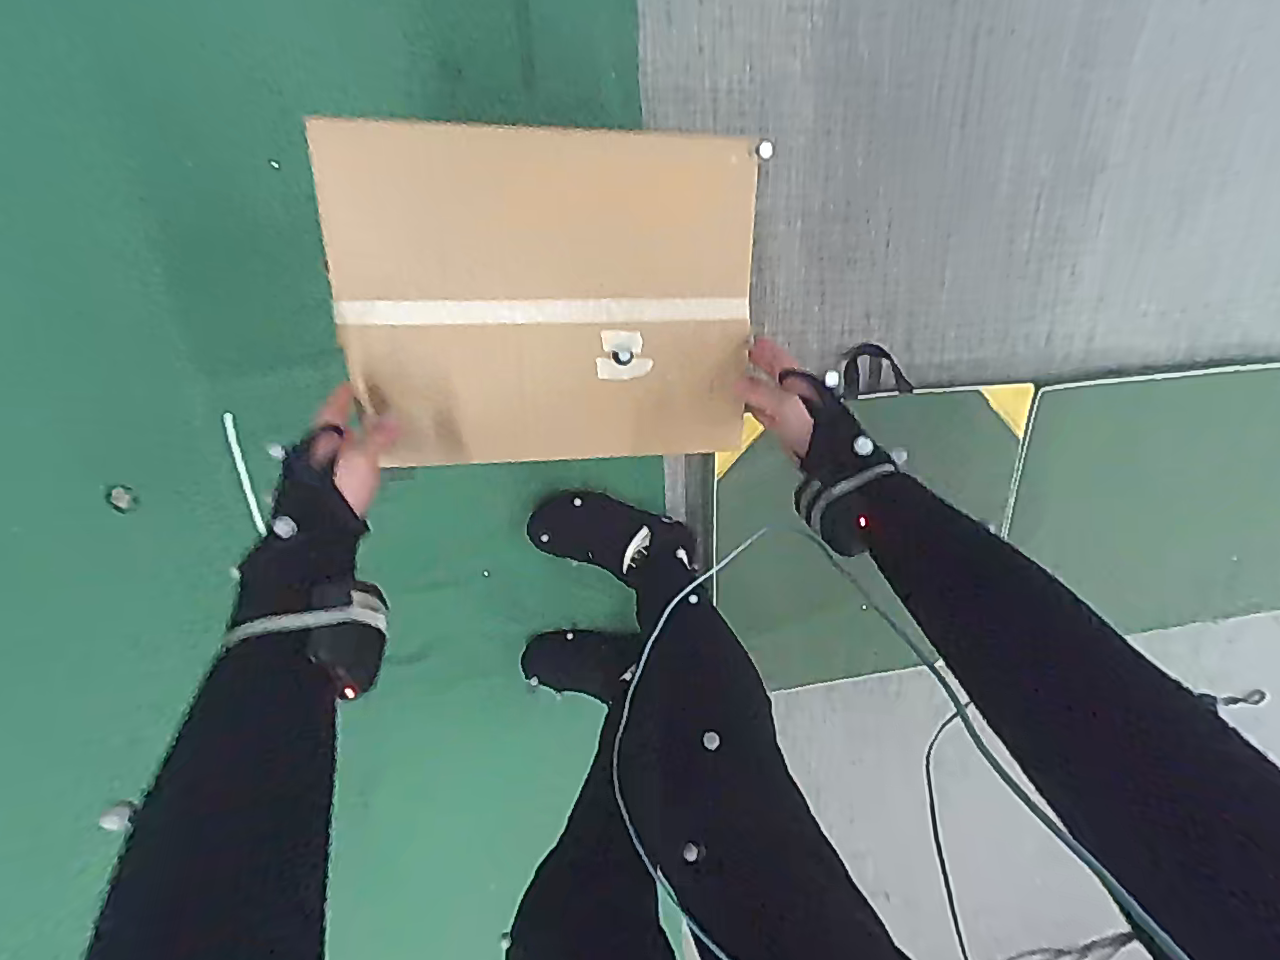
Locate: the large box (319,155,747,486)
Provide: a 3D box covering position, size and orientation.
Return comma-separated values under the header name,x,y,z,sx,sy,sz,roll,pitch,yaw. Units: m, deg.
name,x,y,z,sx,sy,sz,roll,pitch,yaw
large box,-0.113,-0.200,0.691,0.408,0.320,0.320,-4,110,-9
